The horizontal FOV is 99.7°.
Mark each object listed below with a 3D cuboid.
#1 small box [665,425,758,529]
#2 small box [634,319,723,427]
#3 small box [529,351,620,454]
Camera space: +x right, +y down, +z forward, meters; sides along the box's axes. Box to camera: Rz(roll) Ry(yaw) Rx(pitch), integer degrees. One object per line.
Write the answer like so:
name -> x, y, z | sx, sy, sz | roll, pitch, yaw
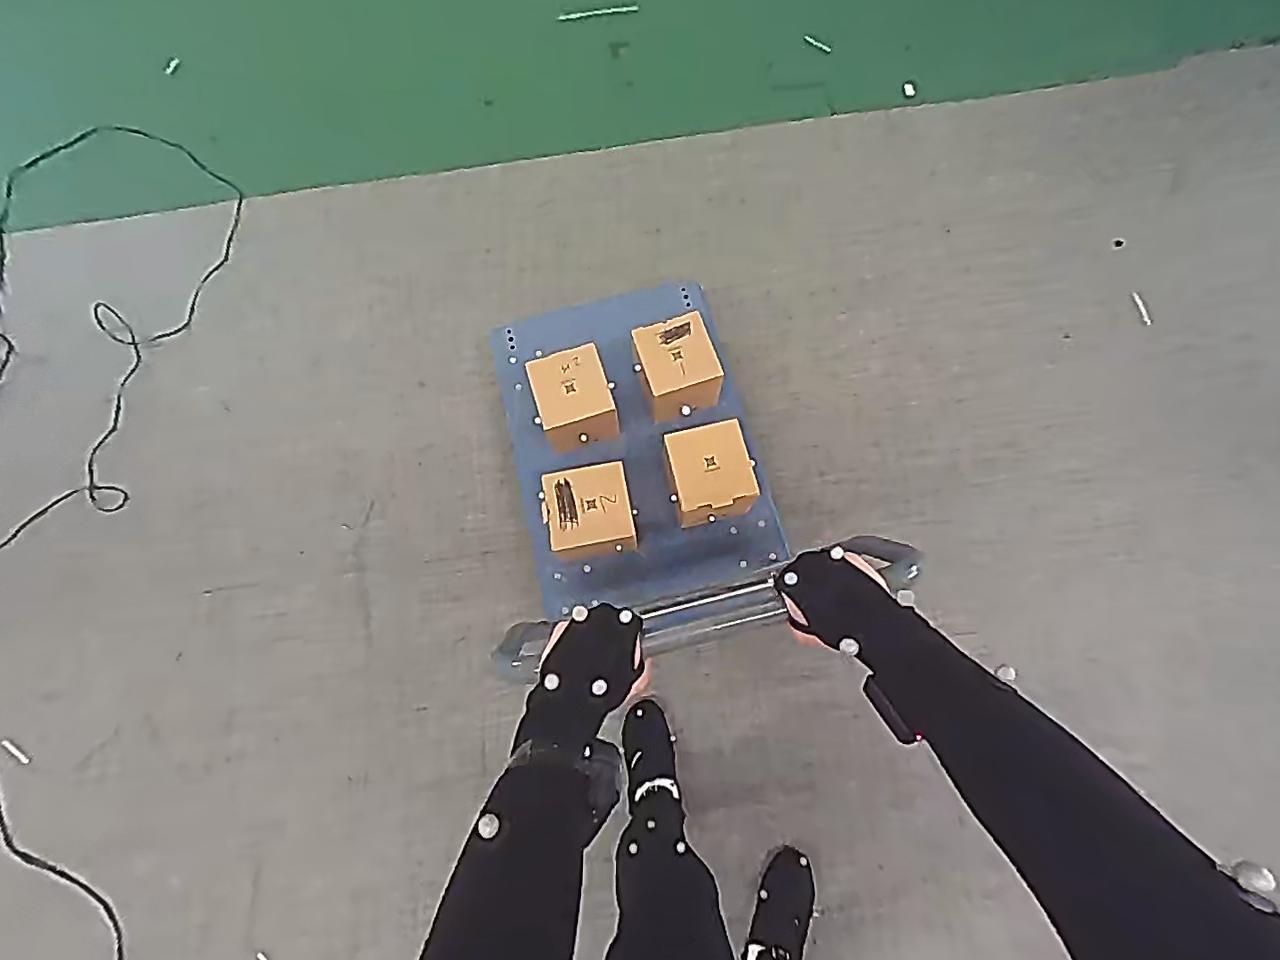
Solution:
small box -> 0.155, -0.002, 1.235 | 0.168, 0.176, 0.179 | -13, 73, -2
small box -> 0.088, -0.253, 1.312 | 0.168, 0.176, 0.179 | -18, 74, -2
small box -> -0.151, -0.175, 1.298 | 0.168, 0.176, 0.179 | -17, 73, -4
